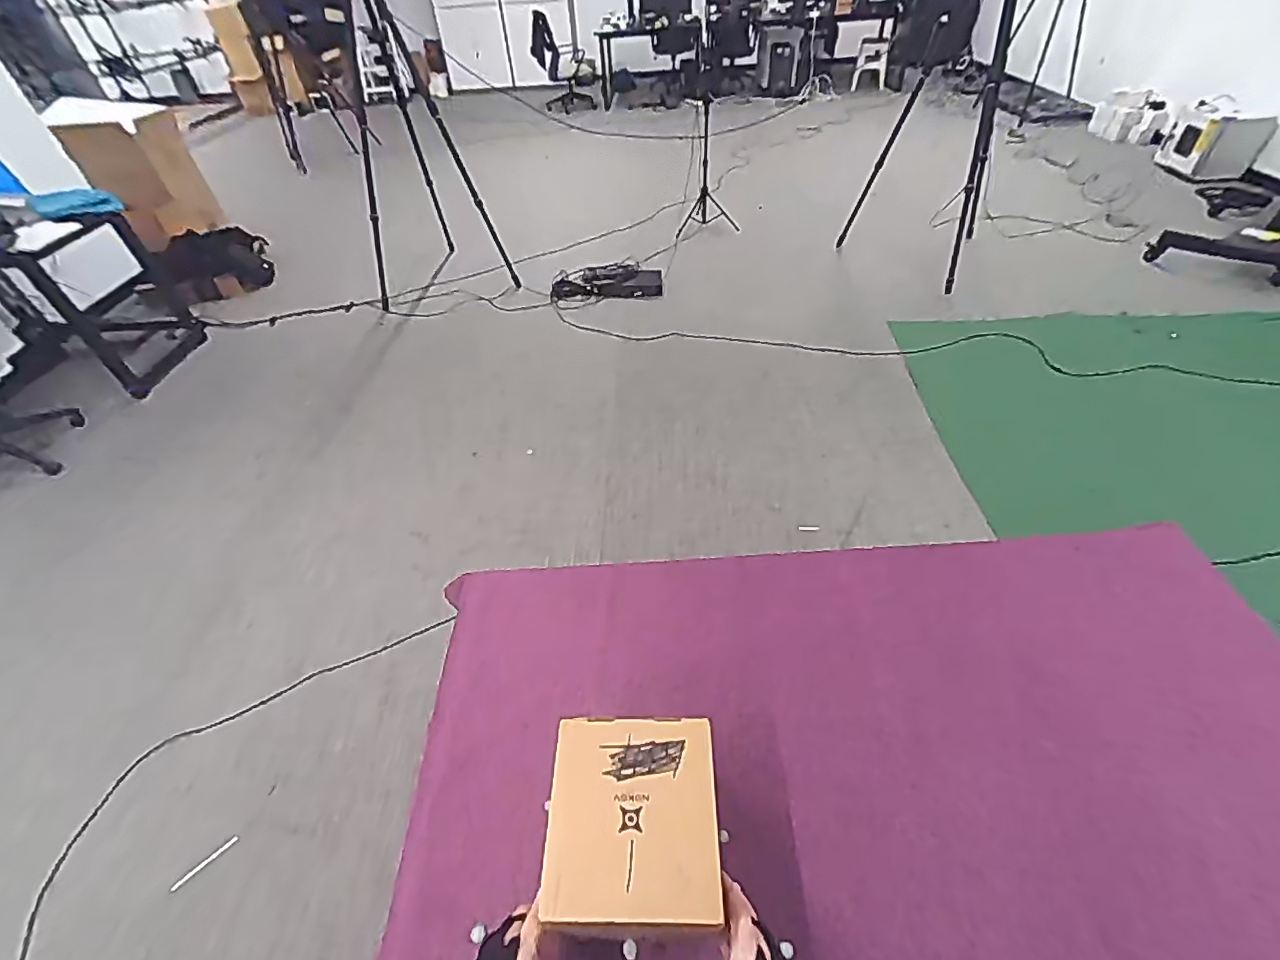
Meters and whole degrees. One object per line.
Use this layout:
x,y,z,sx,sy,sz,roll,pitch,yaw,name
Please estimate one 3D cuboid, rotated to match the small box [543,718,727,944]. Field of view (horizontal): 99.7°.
0.000,0.379,0.586,0.168,0.176,0.179,-1,46,3,small box
